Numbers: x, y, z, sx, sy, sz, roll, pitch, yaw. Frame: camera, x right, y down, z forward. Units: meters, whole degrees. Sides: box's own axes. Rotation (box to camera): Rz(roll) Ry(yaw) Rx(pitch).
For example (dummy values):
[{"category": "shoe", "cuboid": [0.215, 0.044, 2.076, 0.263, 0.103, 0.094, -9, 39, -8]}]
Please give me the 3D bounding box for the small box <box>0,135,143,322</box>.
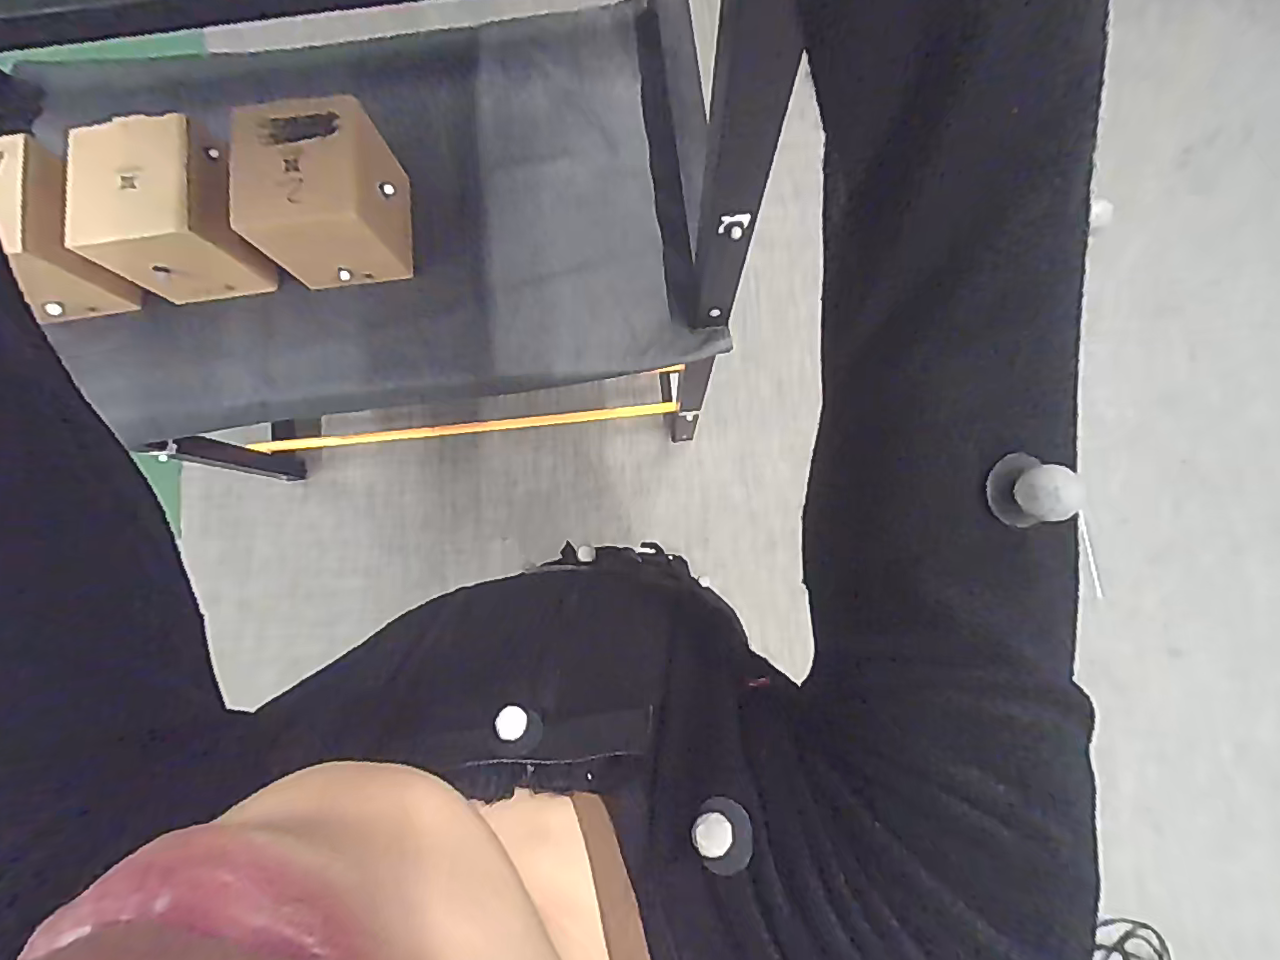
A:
[{"category": "small box", "cuboid": [-0.880, -0.356, 0.790, 0.168, 0.176, 0.179, -8, 82, 1]}]
